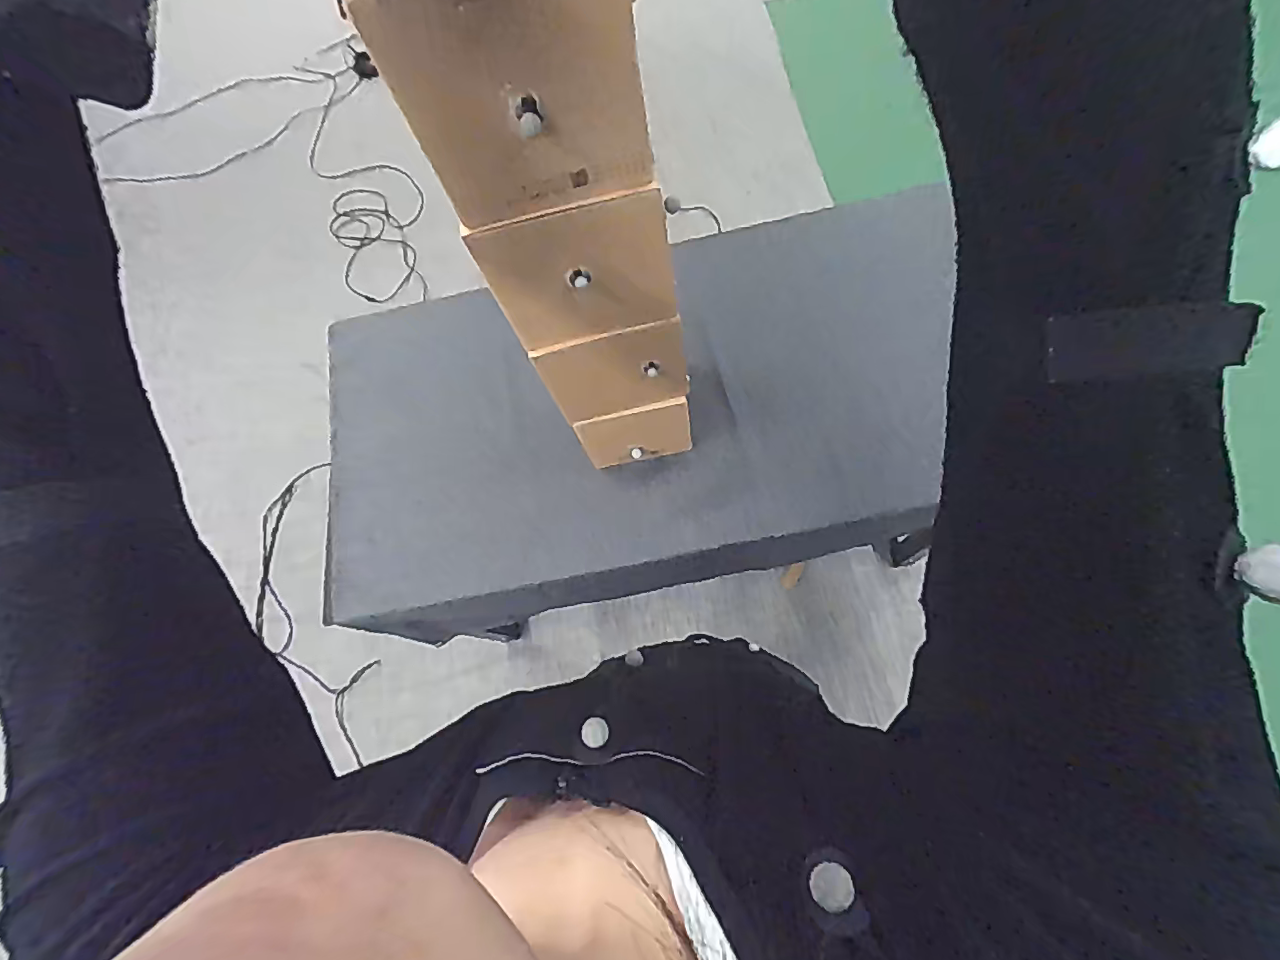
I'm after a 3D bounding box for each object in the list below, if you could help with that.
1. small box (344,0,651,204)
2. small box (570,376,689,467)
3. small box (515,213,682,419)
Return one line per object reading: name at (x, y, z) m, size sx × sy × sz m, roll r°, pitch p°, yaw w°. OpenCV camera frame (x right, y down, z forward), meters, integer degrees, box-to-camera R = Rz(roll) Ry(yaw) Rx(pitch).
small box at (-0.093, -0.338, 0.404) m, size 0.168 × 0.176 × 0.179 m, roll -13°, pitch 67°, yaw 3°
small box at (-0.019, -0.140, 0.846) m, size 0.168 × 0.176 × 0.179 m, roll -11°, pitch 69°, yaw 4°
small box at (-0.044, -0.201, 0.697) m, size 0.179 × 0.176 × 0.168 m, roll -13°, pitch 67°, yaw 3°
